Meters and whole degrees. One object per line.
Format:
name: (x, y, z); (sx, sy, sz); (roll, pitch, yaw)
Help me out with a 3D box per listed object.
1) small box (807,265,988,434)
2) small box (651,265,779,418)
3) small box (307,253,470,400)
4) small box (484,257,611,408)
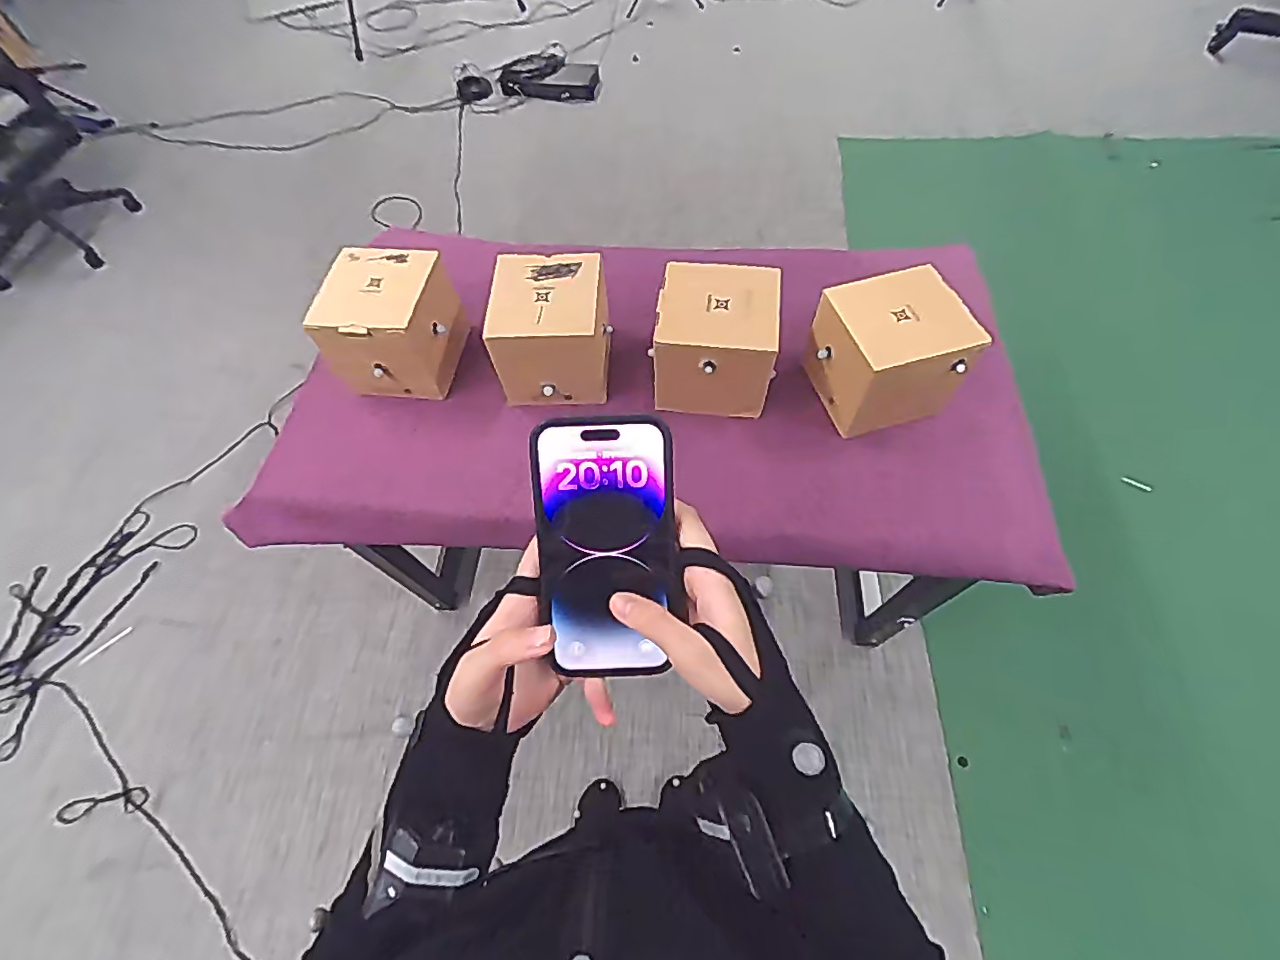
small box: (0.374, -0.192, 0.831); (0.179, 0.176, 0.168); (-15, 61, -5)
small box: (0.118, -0.214, 0.859); (0.179, 0.176, 0.168); (6, 62, 6)
small box: (-0.407, -0.253, 0.911); (0.168, 0.176, 0.179); (4, 62, 6)
small box: (-0.140, -0.238, 0.887); (0.168, 0.176, 0.179); (0, 62, 3)
